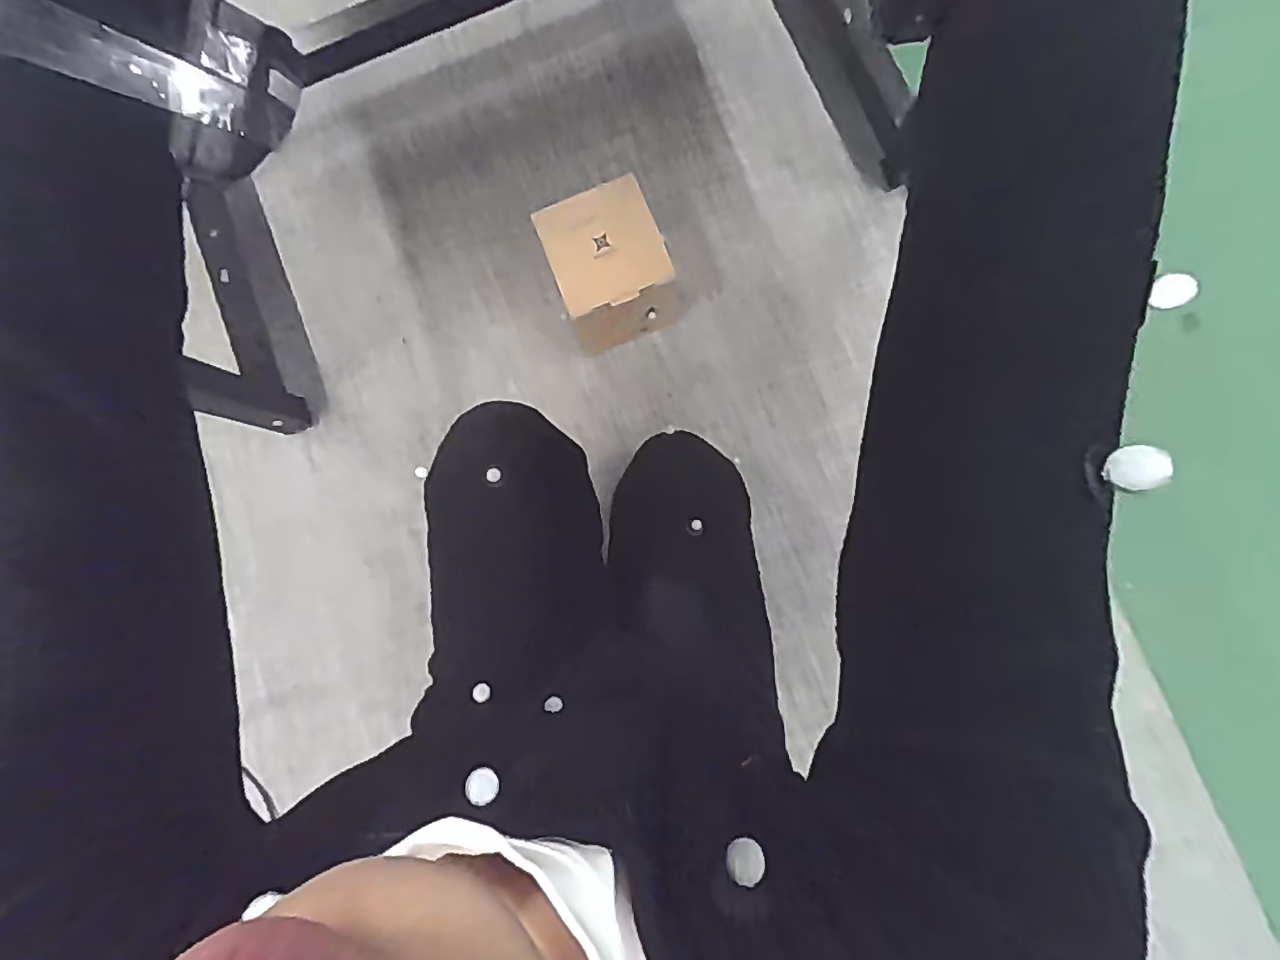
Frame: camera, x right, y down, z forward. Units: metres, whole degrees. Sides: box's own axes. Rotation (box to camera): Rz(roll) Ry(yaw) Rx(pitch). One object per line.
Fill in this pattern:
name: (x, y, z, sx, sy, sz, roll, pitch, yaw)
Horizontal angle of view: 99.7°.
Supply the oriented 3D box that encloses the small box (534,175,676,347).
small box: (-0.046, -0.332, 0.864, 0.168, 0.176, 0.179, -22, 81, 1)
